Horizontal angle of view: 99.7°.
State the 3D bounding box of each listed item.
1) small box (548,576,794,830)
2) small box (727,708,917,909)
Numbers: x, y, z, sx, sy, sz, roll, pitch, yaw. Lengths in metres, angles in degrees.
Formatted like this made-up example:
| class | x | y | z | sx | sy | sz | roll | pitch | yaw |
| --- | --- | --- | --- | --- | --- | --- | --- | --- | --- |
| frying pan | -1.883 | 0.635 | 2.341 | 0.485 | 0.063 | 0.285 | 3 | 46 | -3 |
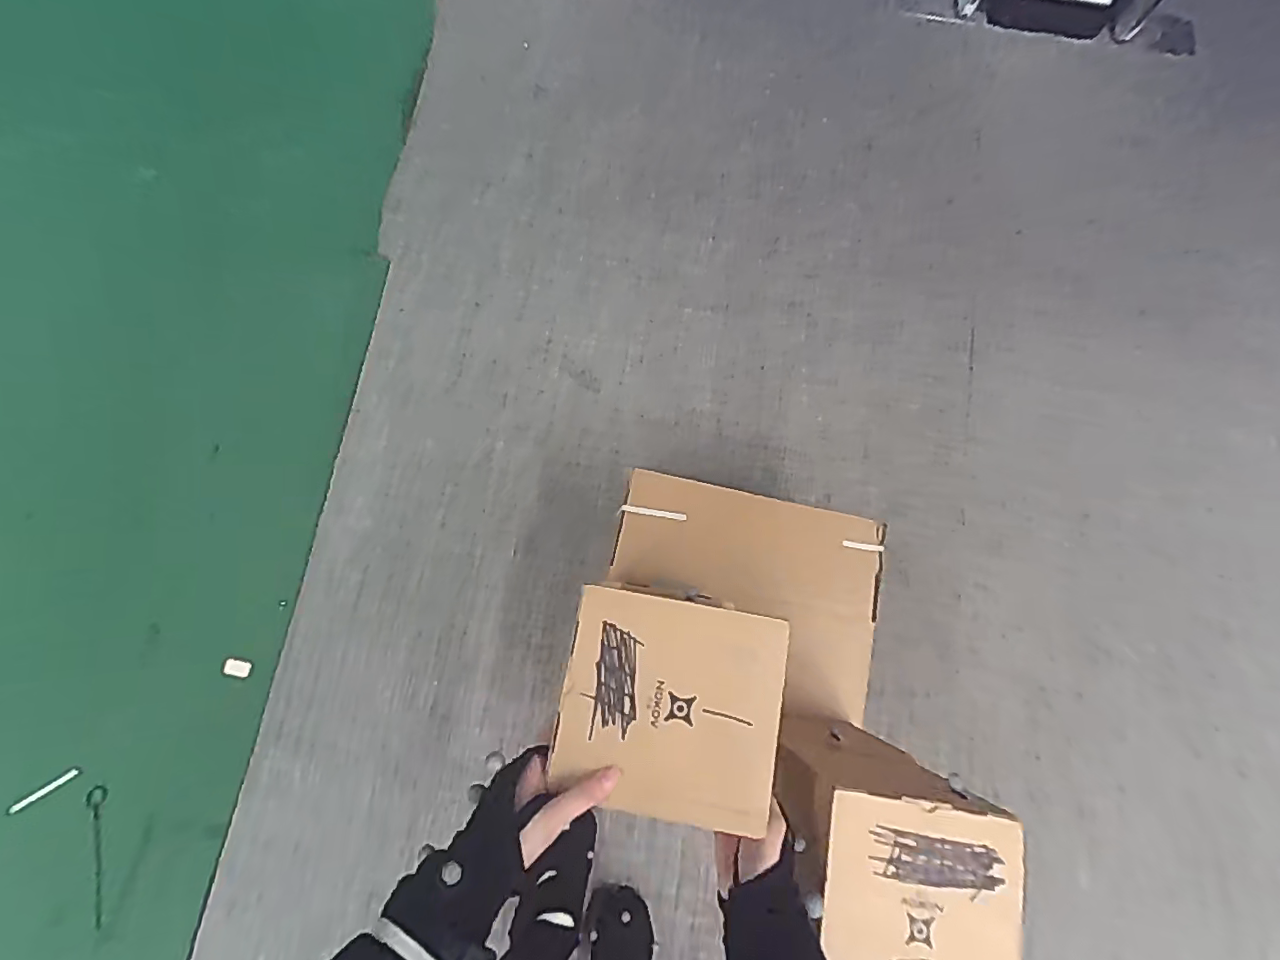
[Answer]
| class | x | y | z | sx | sy | sz | roll | pitch | yaw |
| --- | --- | --- | --- | --- | --- | --- | --- | --- | --- |
| small box | 0.027 | 0.191 | 0.510 | 0.179 | 0.176 | 0.168 | 10 | 78 | 1 |
| small box | 0.215 | 0.391 | 0.680 | 0.179 | 0.176 | 0.168 | 10 | 77 | -1 |
